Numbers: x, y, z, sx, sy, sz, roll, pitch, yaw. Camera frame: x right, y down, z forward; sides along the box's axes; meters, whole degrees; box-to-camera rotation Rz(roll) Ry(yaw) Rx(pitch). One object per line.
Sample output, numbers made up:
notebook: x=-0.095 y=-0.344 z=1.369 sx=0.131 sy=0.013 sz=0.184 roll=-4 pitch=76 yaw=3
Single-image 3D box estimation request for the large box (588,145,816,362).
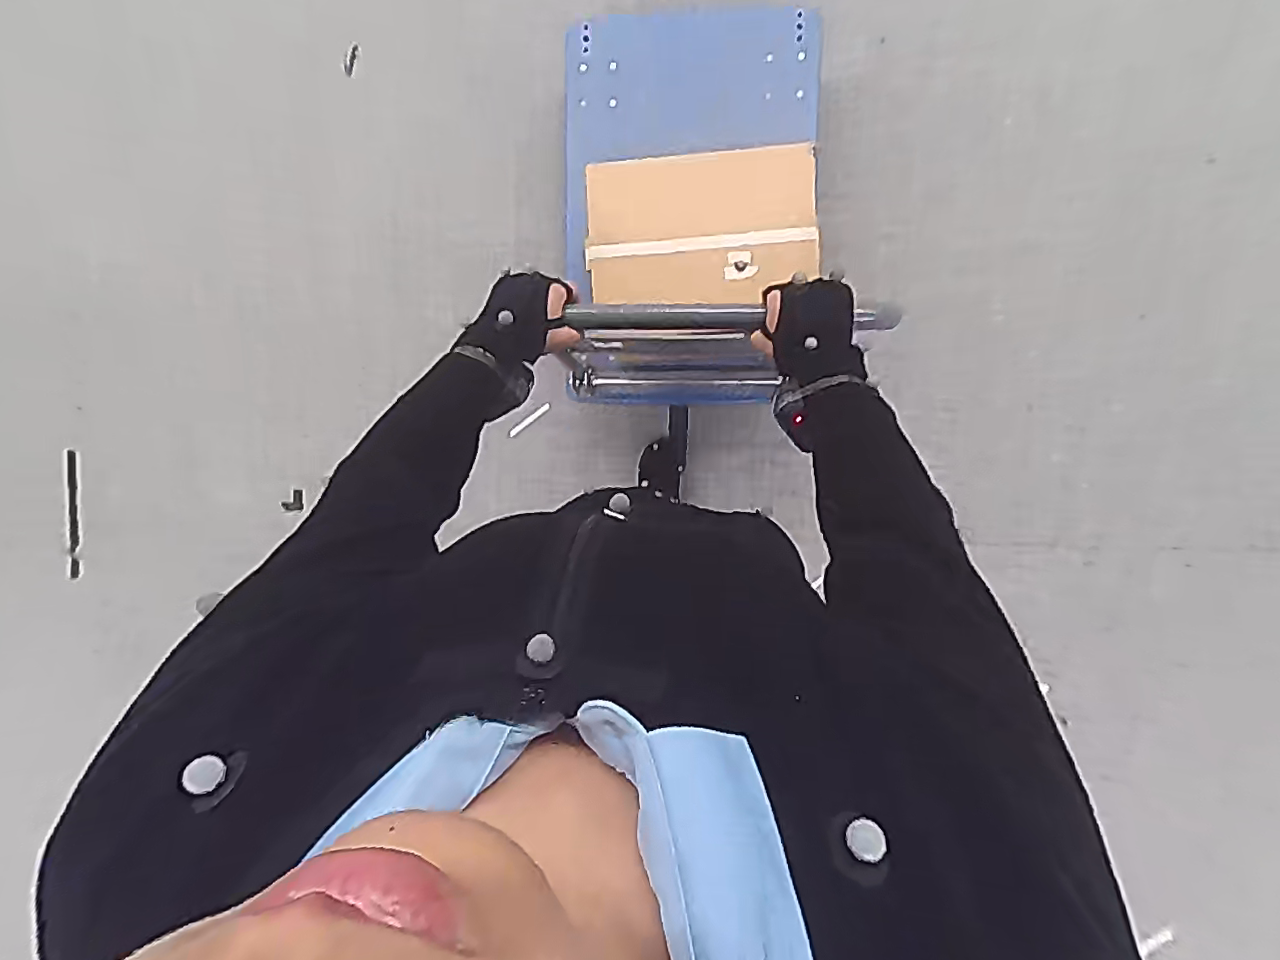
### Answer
large box: x=0.120 y=-0.438 z=1.127 sx=0.408 sy=0.320 sz=0.320 roll=-3 pitch=94 yaw=4
